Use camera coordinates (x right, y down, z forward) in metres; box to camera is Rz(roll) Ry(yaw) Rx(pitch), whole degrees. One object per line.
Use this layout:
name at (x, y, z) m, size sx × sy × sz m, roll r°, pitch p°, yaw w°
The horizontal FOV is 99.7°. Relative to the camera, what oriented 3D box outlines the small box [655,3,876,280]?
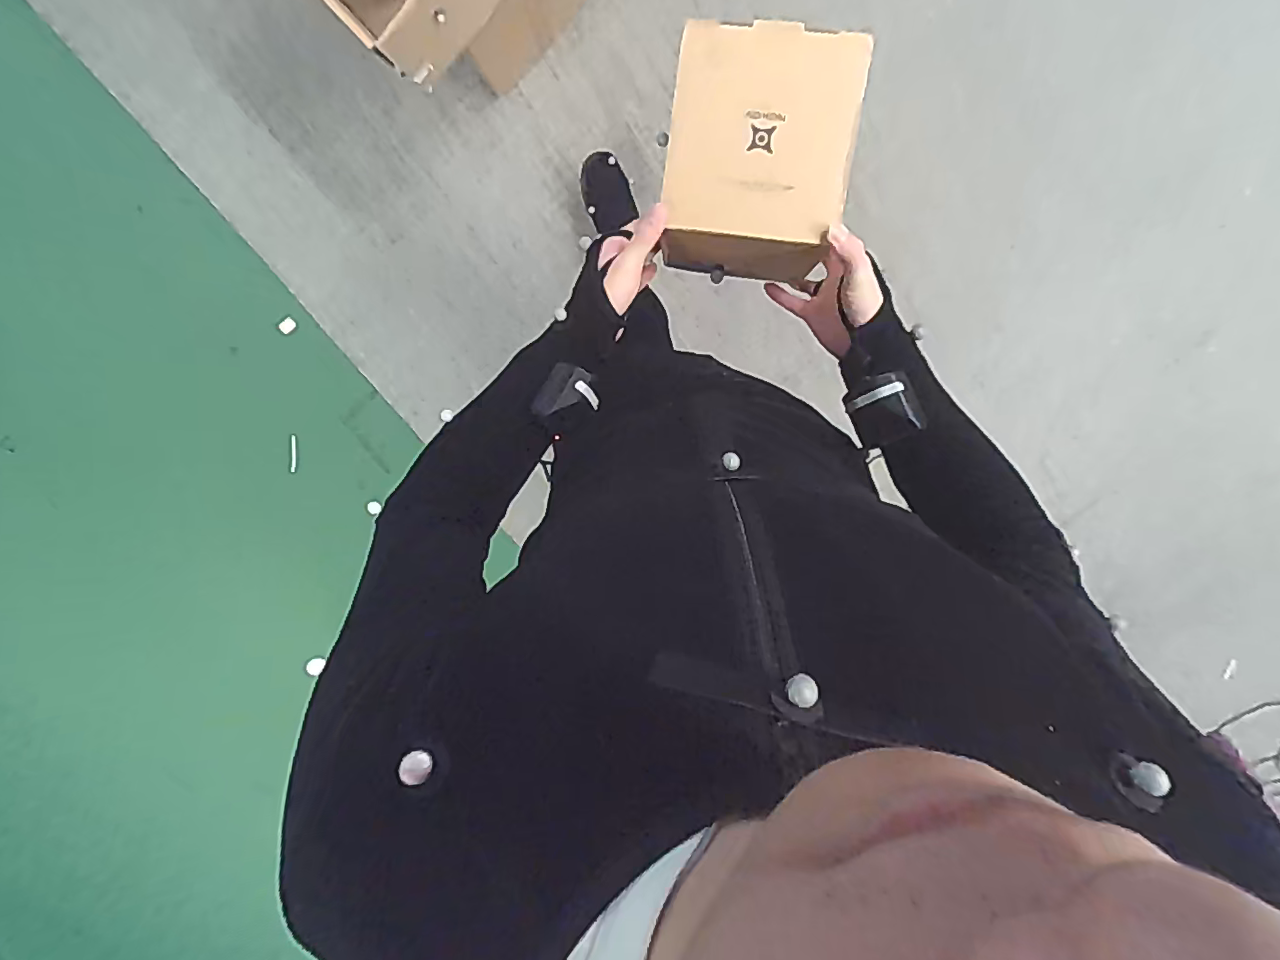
small box at (0.111, -0.318, 0.545) m, size 0.168 × 0.176 × 0.179 m, roll 9°, pitch 99°, yaw 3°
